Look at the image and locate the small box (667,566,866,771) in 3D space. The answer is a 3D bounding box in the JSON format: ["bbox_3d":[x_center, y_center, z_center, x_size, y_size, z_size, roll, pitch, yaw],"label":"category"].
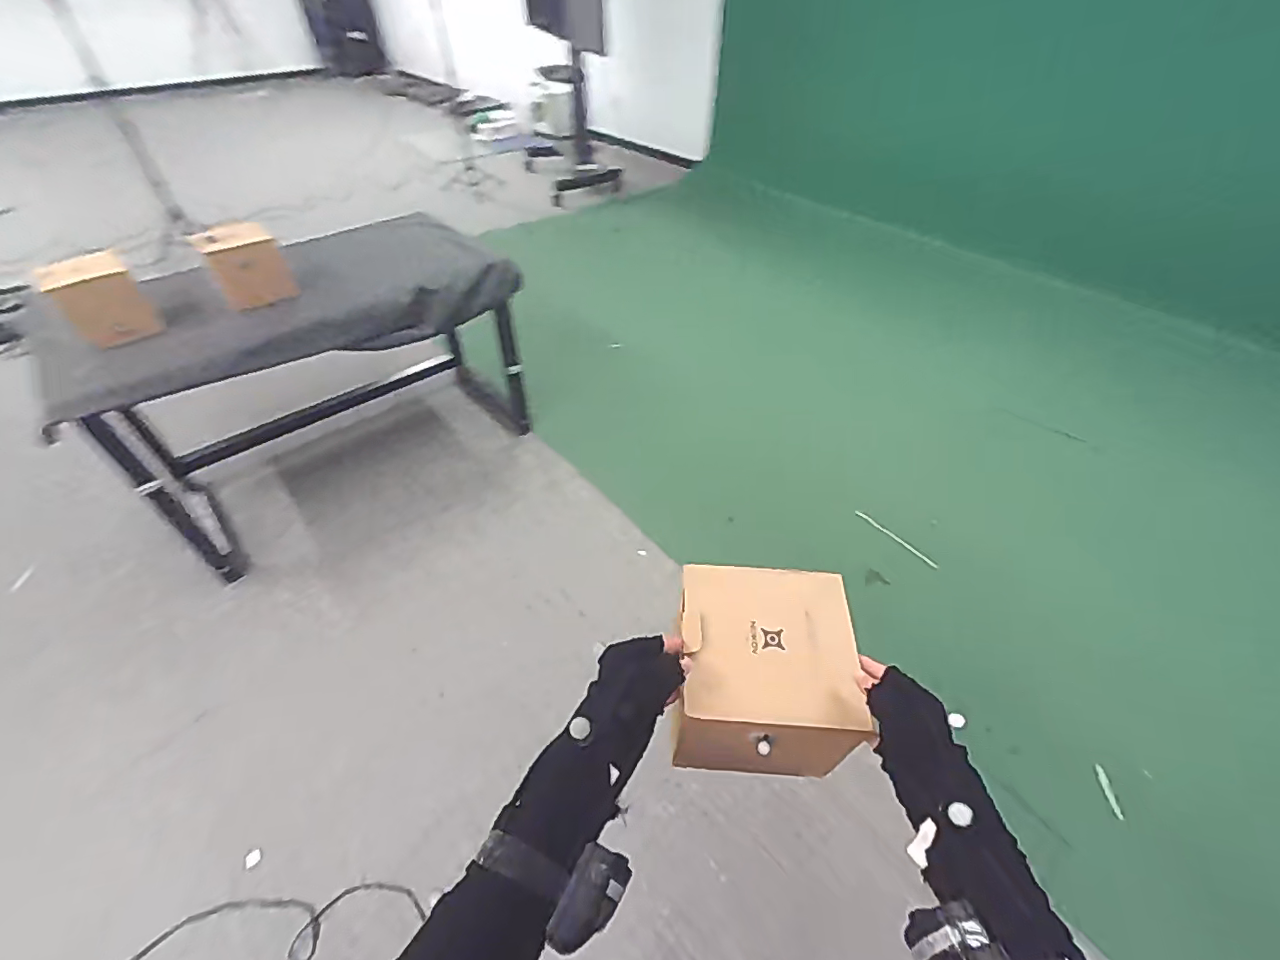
[{"bbox_3d":[0.122,0.214,0.606,0.179,0.176,0.168,4,48,-1],"label":"small box"}]

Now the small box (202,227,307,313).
[{"bbox_3d":[-1.100,-0.601,1.553,0.179,0.176,0.168,-31,53,-29],"label":"small box"}]

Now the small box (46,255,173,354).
[{"bbox_3d":[-1.358,-0.454,1.399,0.179,0.176,0.168,-34,54,-31],"label":"small box"}]
